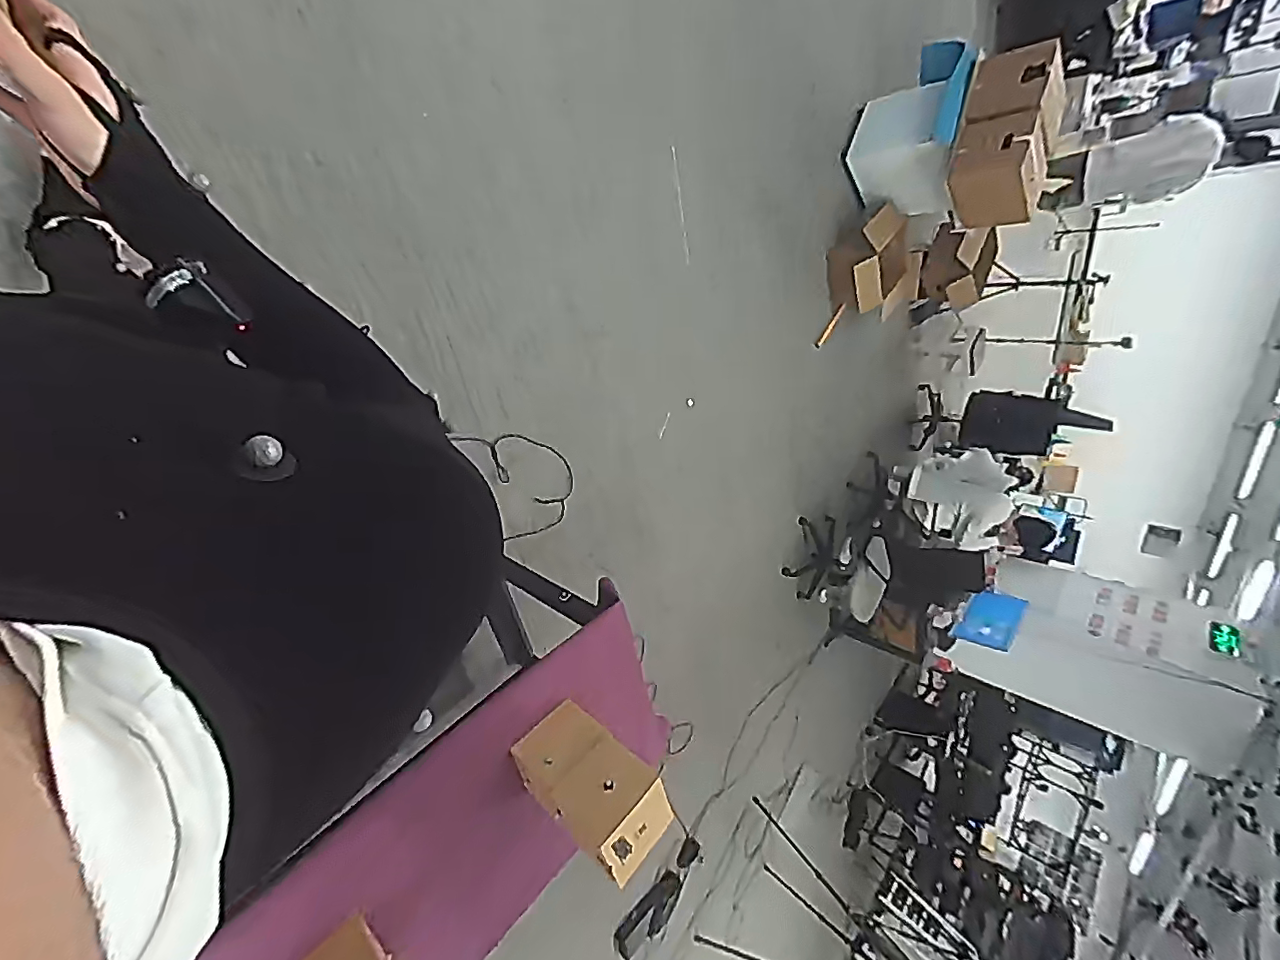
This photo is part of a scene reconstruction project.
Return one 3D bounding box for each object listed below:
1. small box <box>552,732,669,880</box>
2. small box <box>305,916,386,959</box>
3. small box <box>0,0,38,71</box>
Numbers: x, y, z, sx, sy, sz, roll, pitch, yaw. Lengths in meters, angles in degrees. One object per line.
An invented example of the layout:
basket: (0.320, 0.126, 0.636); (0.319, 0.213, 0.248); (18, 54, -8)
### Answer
small box: (-0.068, 0.693, 1.165); (0.179, 0.176, 0.168); (-37, 127, -35)
small box: (-0.541, 0.964, 0.979); (0.179, 0.176, 0.168); (-31, 123, -40)
small box: (-0.487, -0.345, 0.279); (0.179, 0.176, 0.168); (-10, 113, -29)
